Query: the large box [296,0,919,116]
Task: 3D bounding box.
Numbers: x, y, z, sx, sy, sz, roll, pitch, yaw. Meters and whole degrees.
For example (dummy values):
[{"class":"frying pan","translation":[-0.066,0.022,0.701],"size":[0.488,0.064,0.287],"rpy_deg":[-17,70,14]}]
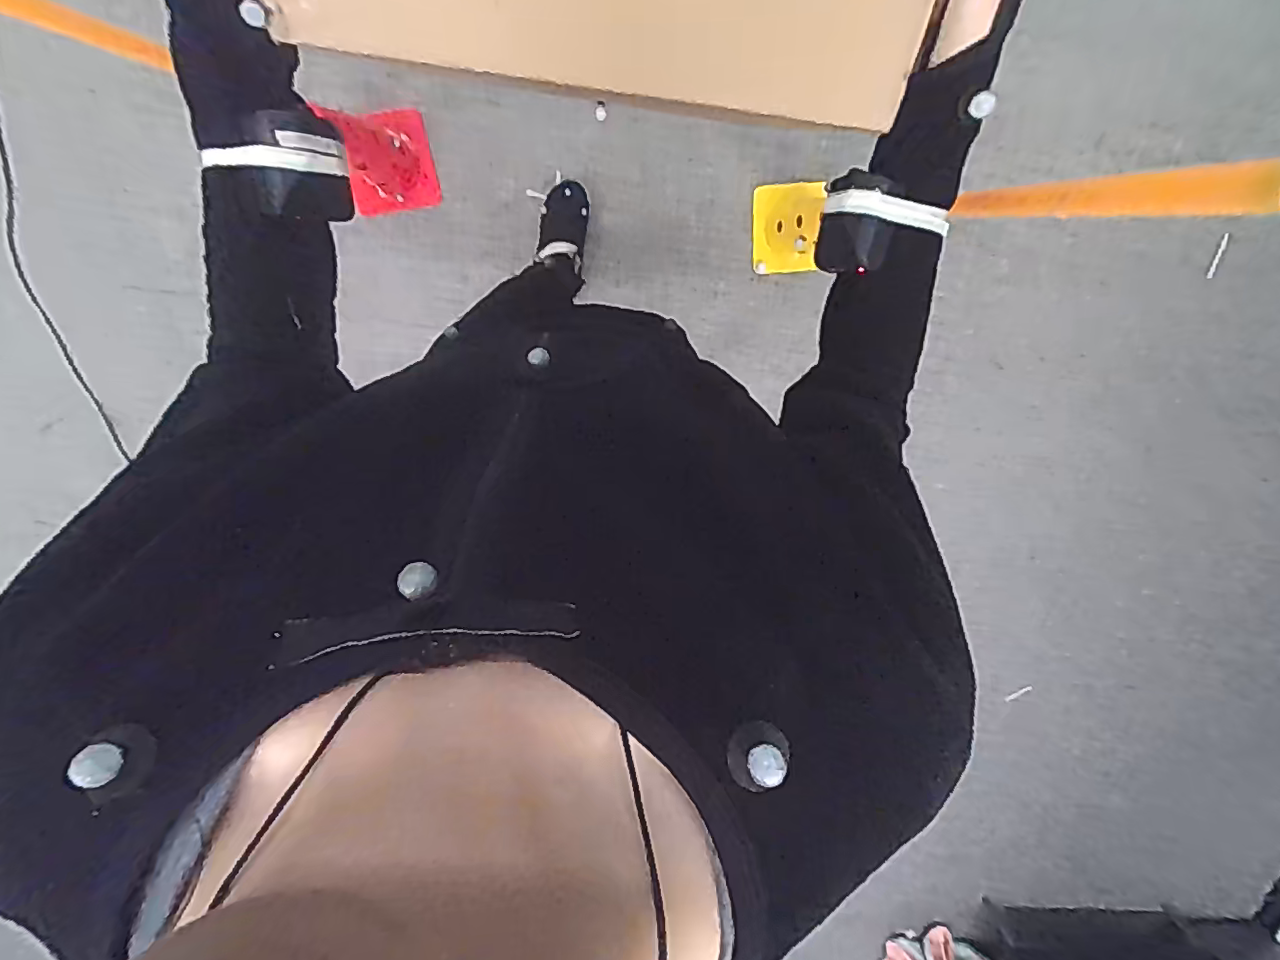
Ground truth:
[{"class":"large box","translation":[-0.010,-0.483,0.405],"size":[0.408,0.320,0.320],"rpy_deg":[4,123,-6]}]
